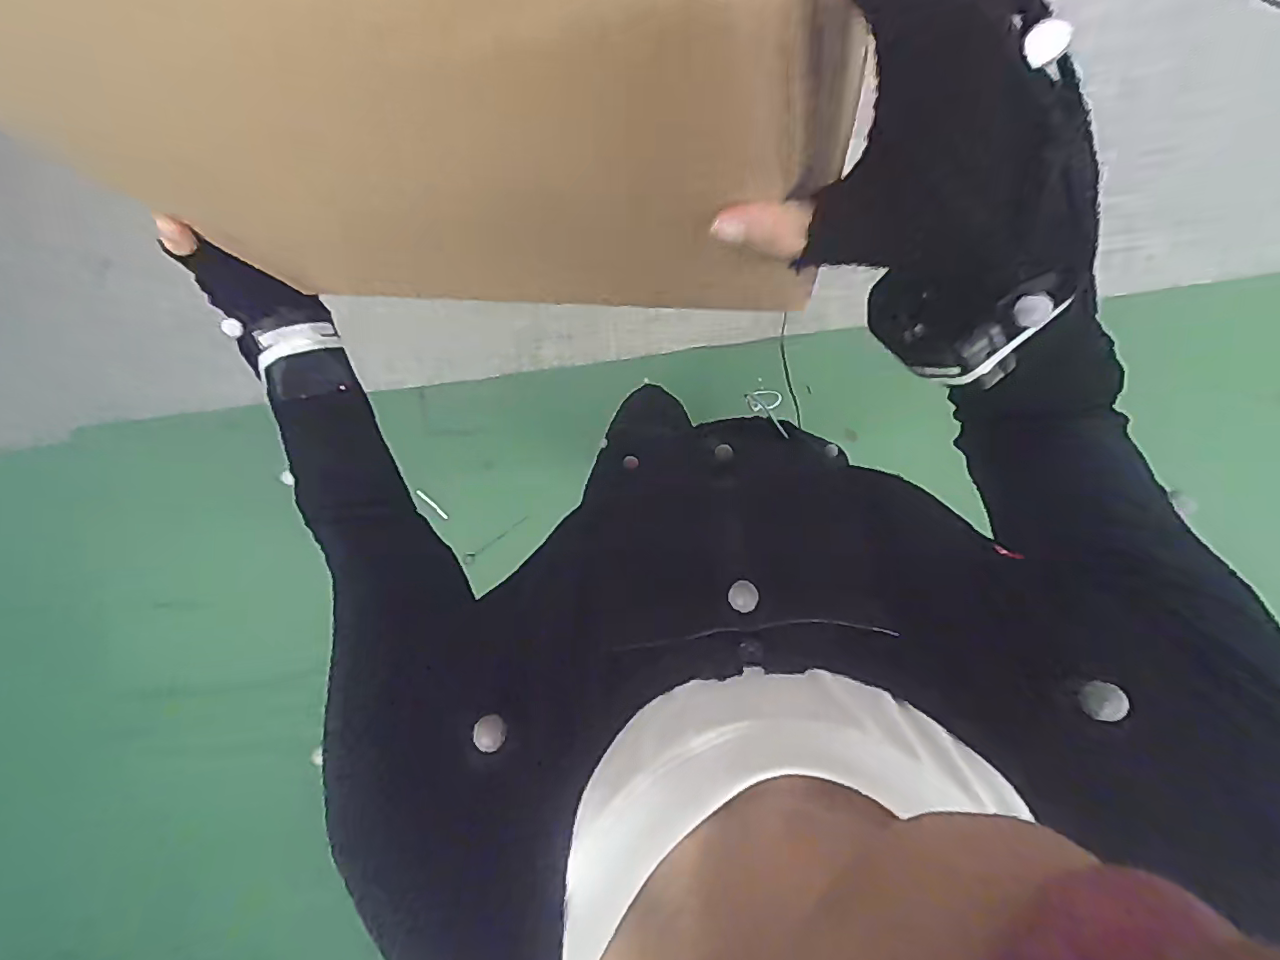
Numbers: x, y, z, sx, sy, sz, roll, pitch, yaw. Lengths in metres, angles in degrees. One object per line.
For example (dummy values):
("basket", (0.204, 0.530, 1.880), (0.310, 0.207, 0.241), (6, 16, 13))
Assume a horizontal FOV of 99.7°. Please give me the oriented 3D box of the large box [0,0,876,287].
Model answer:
("large box", (-0.111, -0.304, 0.241), (0.408, 0.320, 0.320), (11, 83, 25))
